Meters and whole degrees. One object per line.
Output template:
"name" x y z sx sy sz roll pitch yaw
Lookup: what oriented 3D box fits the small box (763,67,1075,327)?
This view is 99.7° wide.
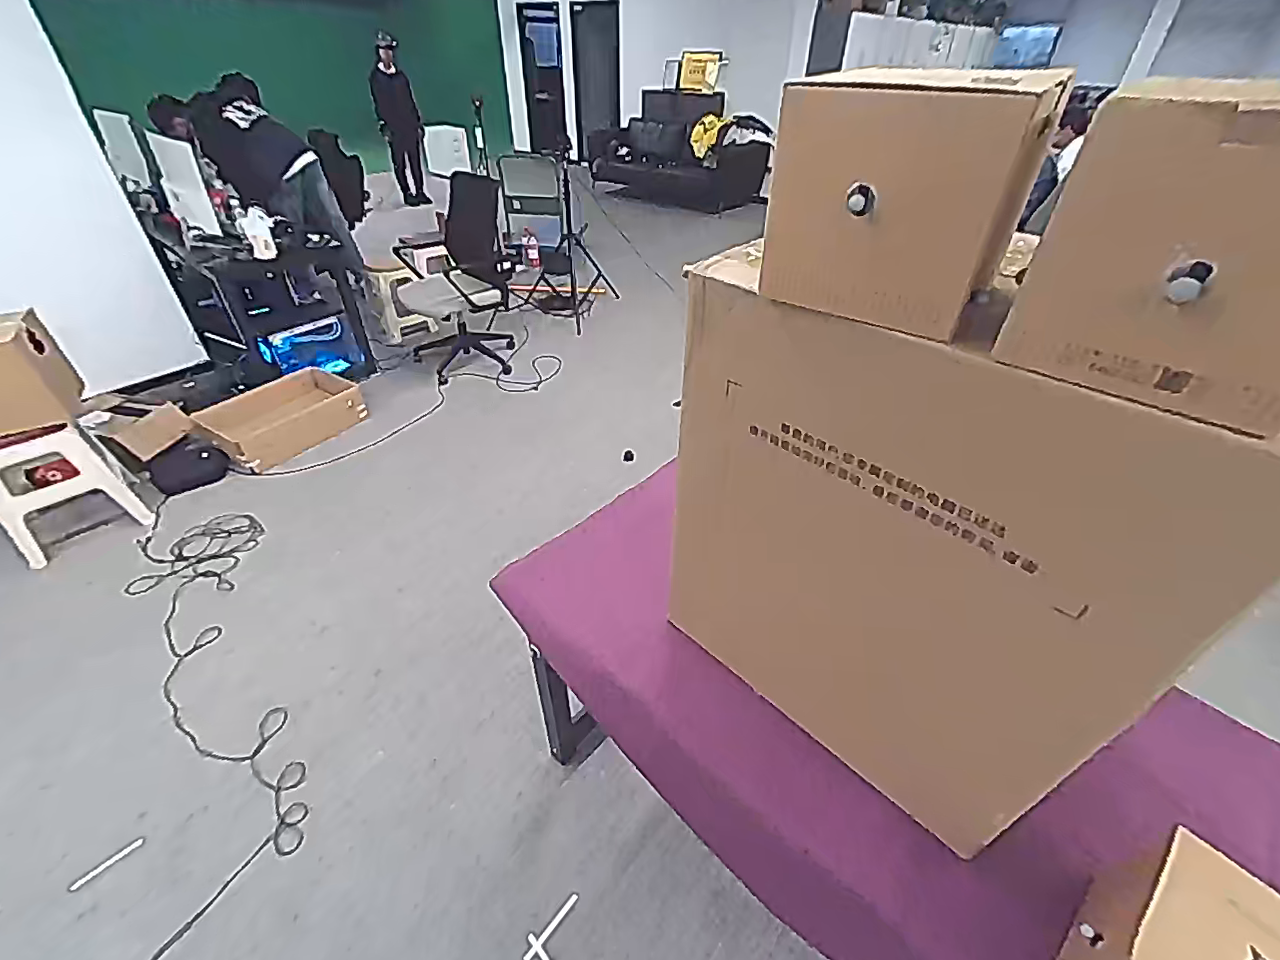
"small box" 0.228 -0.248 0.471 0.179 0.176 0.168 26 45 31

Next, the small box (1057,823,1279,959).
"small box" 0.558 0.499 0.535 0.179 0.176 0.168 -27 47 -31
